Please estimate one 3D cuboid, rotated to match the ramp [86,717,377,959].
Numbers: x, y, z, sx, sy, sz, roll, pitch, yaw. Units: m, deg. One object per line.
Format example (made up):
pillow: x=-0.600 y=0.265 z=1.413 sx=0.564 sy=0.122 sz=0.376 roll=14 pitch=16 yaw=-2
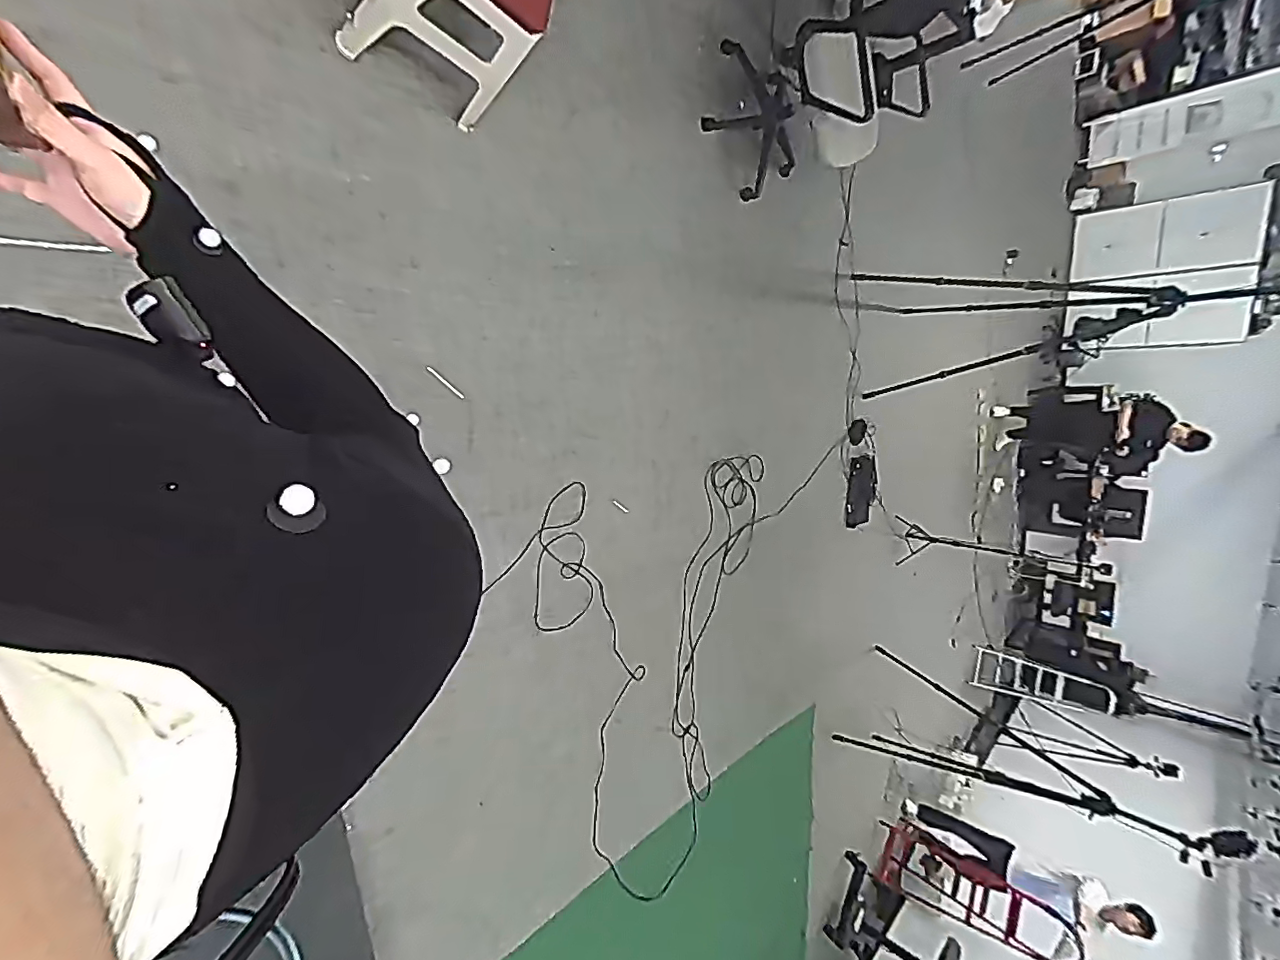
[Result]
ramp: x=-1.010 y=1.204 z=1.429 sx=0.509 sy=0.206 sz=0.991 roll=-15 pitch=107 yaw=-40
